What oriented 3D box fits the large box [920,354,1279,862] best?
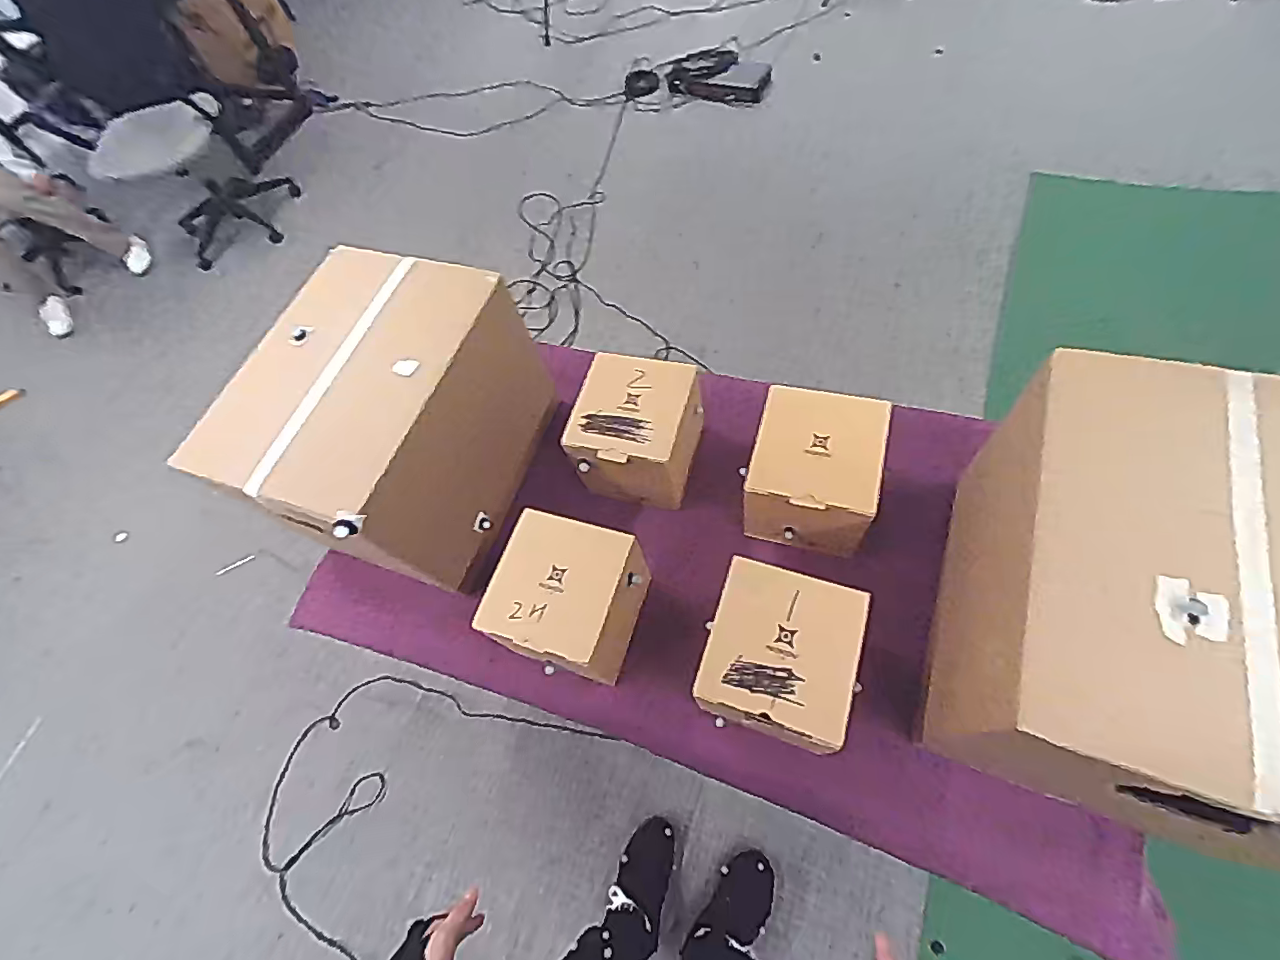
[{"bbox_3d":[0.539,0.136,0.590,0.320,0.320,0.408,15,67,18],"label":"large box"}]

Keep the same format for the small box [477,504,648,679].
[{"bbox_3d":[-0.093,0.161,0.761,0.168,0.176,0.179,13,65,16],"label":"small box"}]
